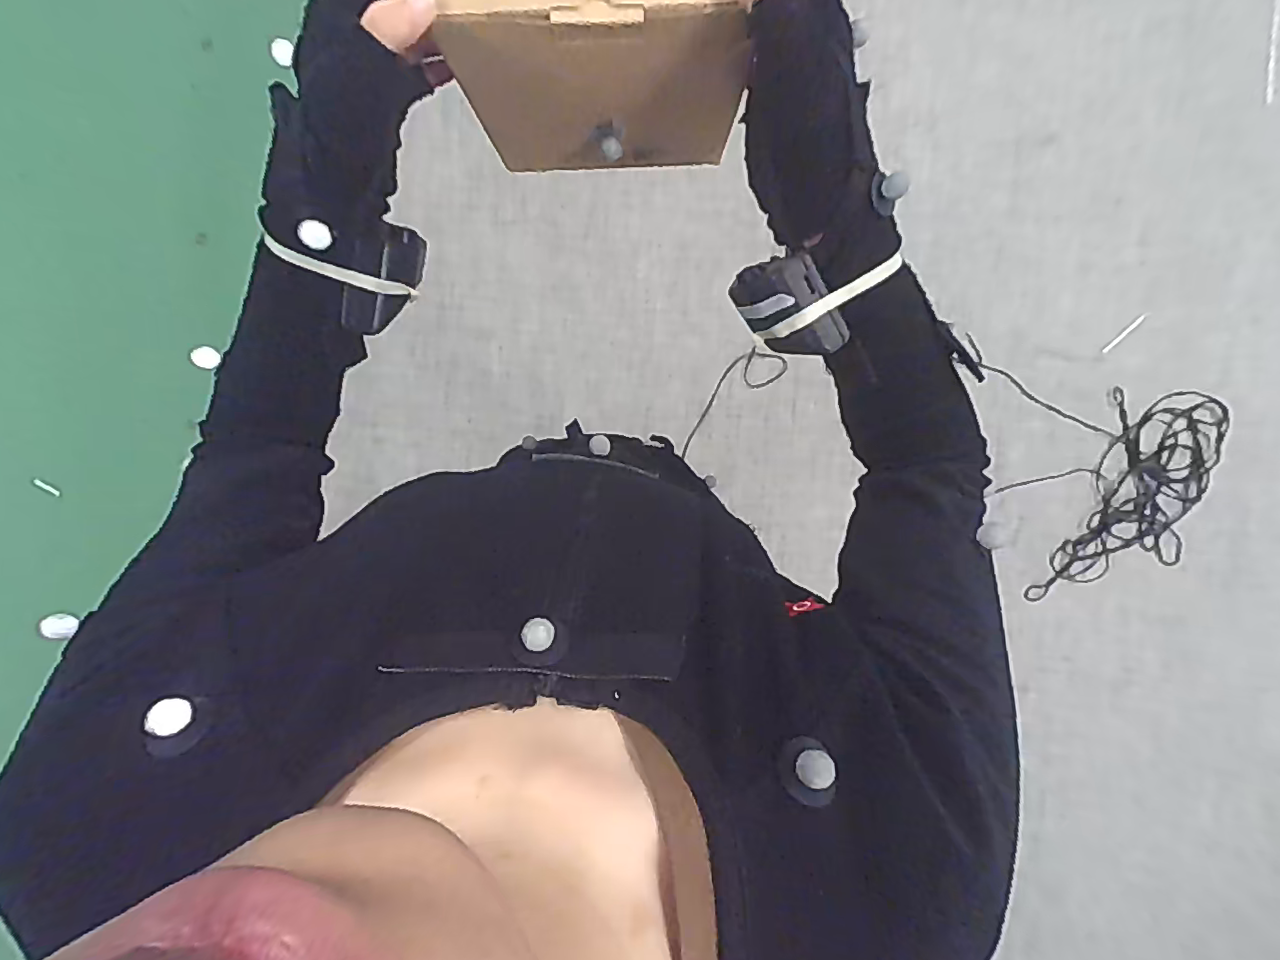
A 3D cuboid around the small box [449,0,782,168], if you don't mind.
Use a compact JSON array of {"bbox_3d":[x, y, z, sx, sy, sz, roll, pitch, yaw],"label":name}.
[{"bbox_3d":[-0.015,-0.319,0.327,0.168,0.176,0.179,-2,97,1],"label":"small box"}]
